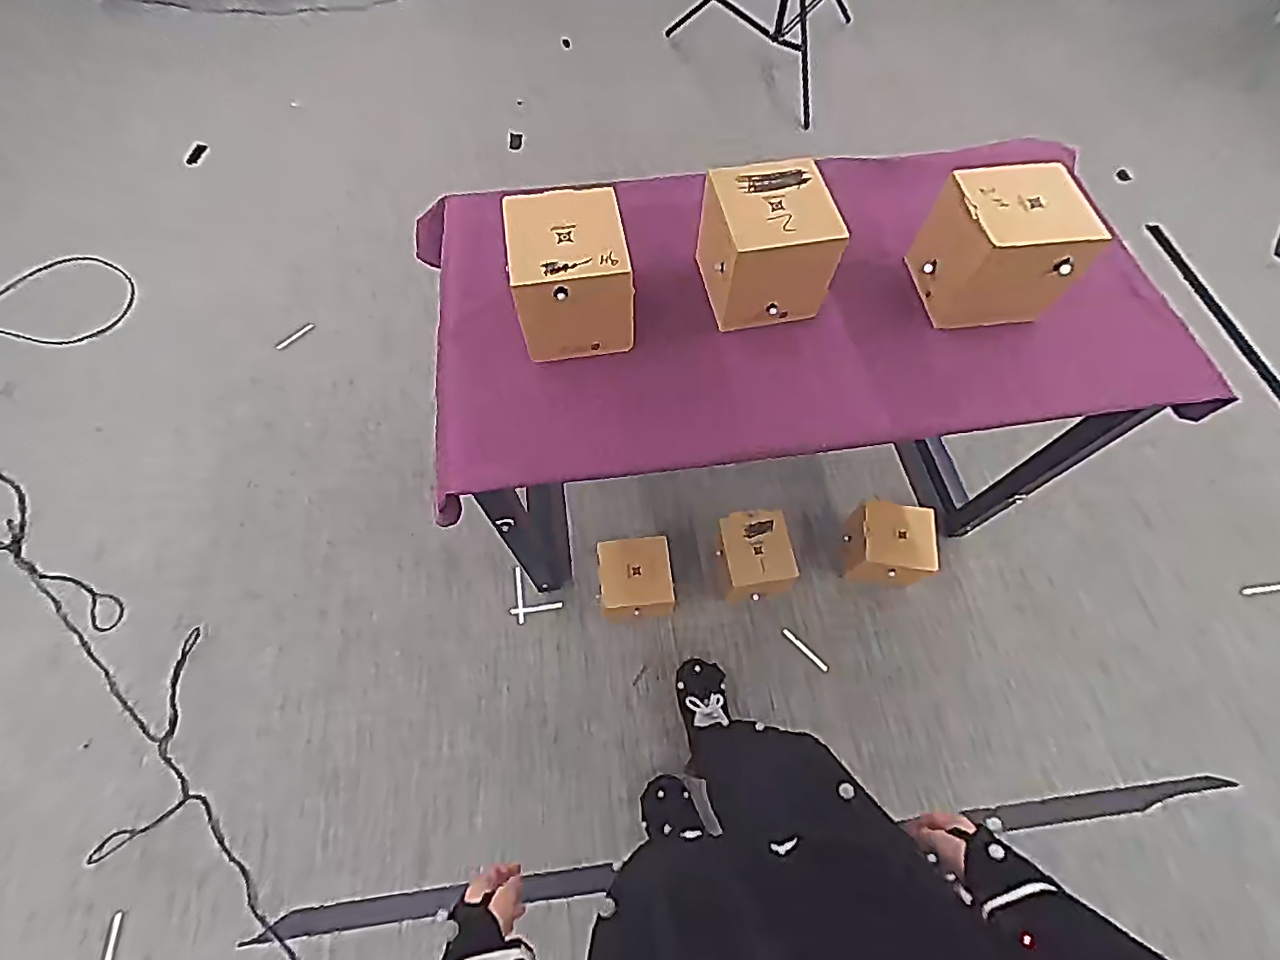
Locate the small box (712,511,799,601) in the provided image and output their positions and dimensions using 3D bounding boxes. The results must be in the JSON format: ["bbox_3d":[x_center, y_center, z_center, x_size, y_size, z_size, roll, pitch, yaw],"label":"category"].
[{"bbox_3d":[0.288,0.199,1.391,0.168,0.176,0.179,-8,66,-3],"label":"small box"}]

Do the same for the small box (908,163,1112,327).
[{"bbox_3d":[0.562,-0.363,0.850,0.179,0.176,0.168,-6,64,-2],"label":"small box"}]

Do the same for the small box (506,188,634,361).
[{"bbox_3d":[-0.104,-0.309,0.826,0.168,0.176,0.179,-9,65,-4],"label":"small box"}]

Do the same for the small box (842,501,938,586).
[{"bbox_3d":[0.643,0.170,1.407,0.179,0.176,0.168,8,66,5],"label":"small box"}]
